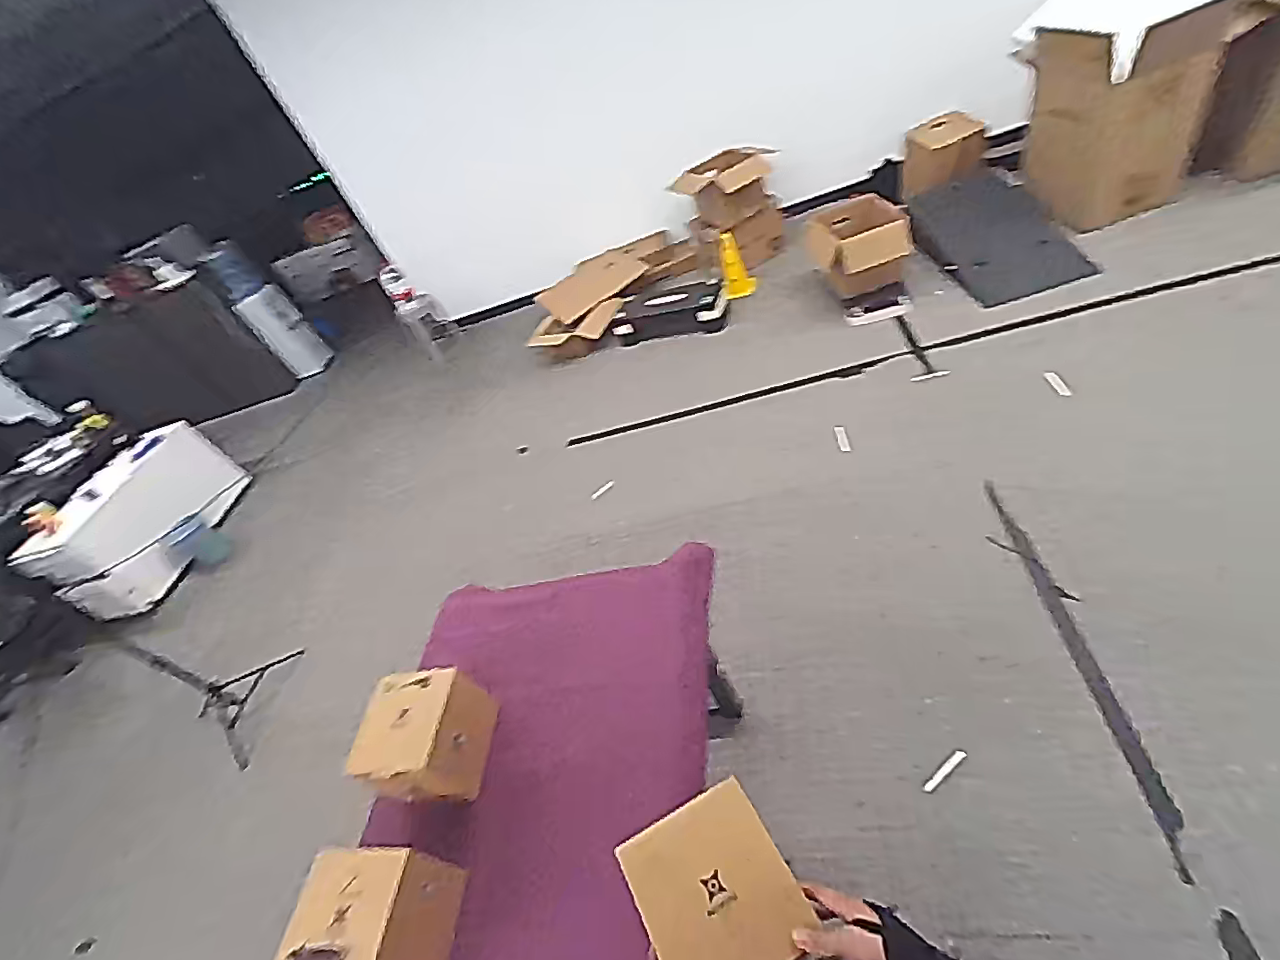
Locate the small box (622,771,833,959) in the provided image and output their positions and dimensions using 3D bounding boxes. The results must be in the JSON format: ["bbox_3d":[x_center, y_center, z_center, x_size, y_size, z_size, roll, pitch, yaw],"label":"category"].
[{"bbox_3d":[0.093,0.490,0.635,0.168,0.176,0.179,-24,47,-15],"label":"small box"}]

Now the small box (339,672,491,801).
[{"bbox_3d":[-0.396,0.475,0.989,0.168,0.176,0.179,-10,45,14],"label":"small box"}]
